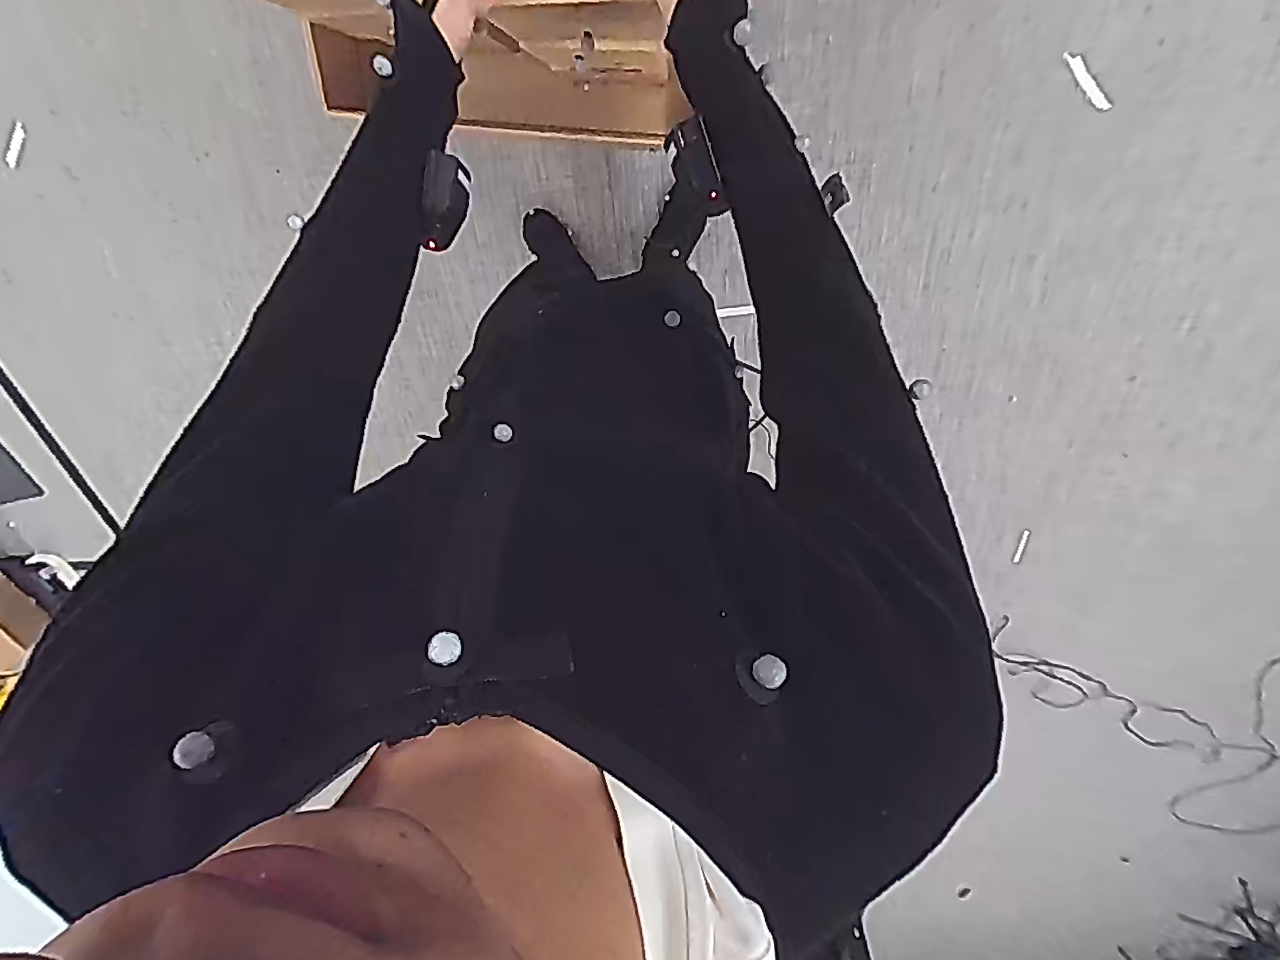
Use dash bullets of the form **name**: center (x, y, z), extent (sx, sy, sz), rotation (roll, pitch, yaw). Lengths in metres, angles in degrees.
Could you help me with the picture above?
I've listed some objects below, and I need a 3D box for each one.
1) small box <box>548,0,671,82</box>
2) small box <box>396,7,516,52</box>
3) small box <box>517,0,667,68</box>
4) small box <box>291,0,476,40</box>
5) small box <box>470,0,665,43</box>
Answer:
- **small box**: center (-0.041, -0.697, 0.789), extent (0.168, 0.176, 0.179), rotation (3, 121, 3)
- **small box**: center (-0.293, -0.737, 0.783), extent (0.179, 0.176, 0.168), rotation (2, 122, 2)
- **small box**: center (-0.051, -0.615, 0.650), extent (0.168, 0.176, 0.179), rotation (4, 121, 2)
- **small box**: center (-0.312, -0.652, 0.643), extent (0.168, 0.176, 0.179), rotation (2, 122, 5)
- **small box**: center (-0.061, -0.533, 0.509), extent (0.179, 0.176, 0.168), rotation (2, 120, 3)
